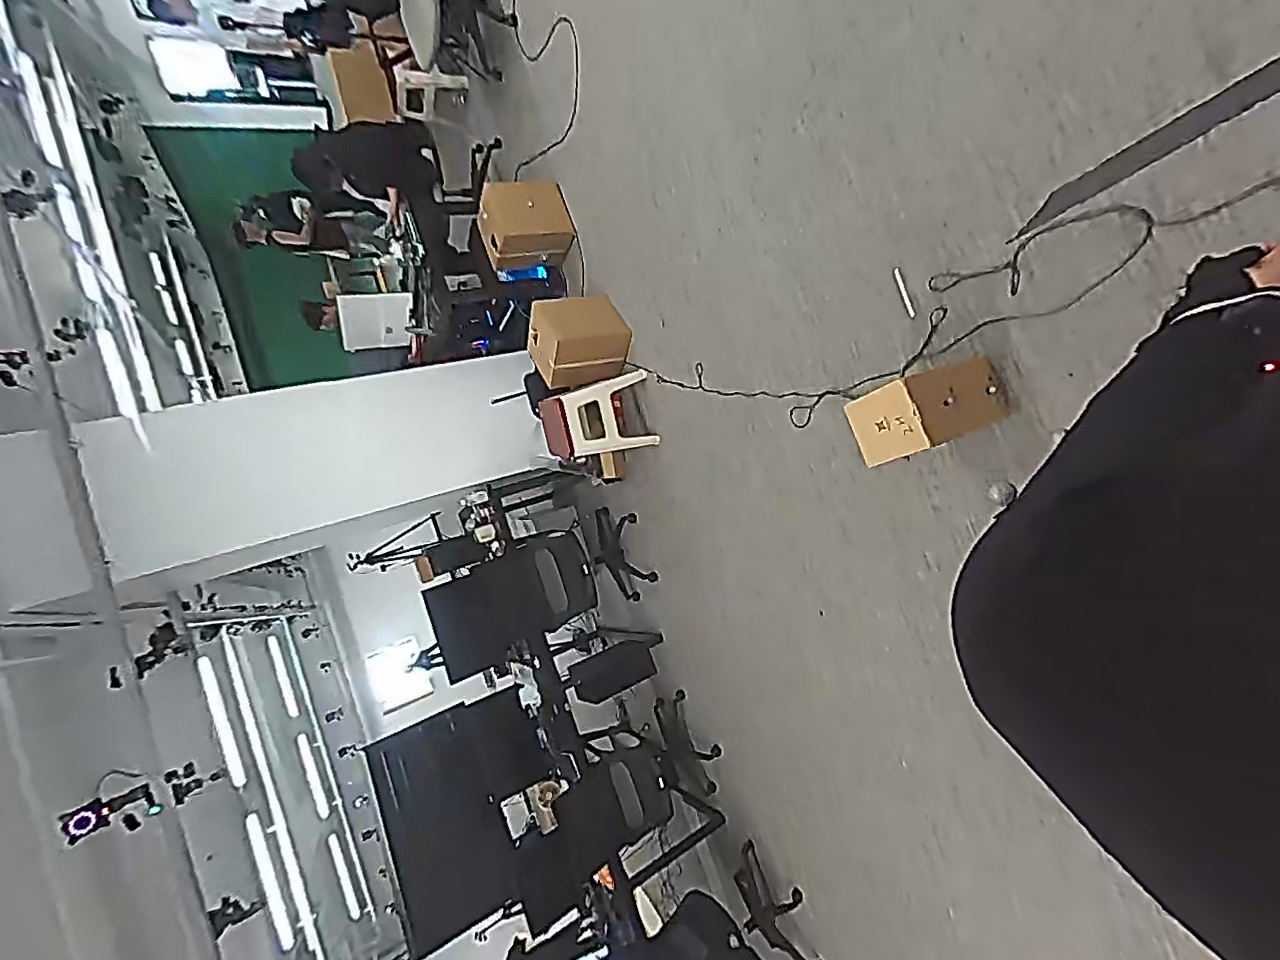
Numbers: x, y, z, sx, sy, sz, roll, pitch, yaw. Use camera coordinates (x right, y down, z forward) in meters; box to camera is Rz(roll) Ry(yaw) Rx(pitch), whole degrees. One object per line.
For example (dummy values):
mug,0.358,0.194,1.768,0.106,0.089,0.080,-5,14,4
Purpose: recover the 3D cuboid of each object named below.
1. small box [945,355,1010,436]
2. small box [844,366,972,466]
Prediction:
small box,0.760,-0.191,1.335,0.179,0.176,0.168,-26,83,61
small box,0.621,-0.147,1.257,0.179,0.176,0.168,-29,80,61
